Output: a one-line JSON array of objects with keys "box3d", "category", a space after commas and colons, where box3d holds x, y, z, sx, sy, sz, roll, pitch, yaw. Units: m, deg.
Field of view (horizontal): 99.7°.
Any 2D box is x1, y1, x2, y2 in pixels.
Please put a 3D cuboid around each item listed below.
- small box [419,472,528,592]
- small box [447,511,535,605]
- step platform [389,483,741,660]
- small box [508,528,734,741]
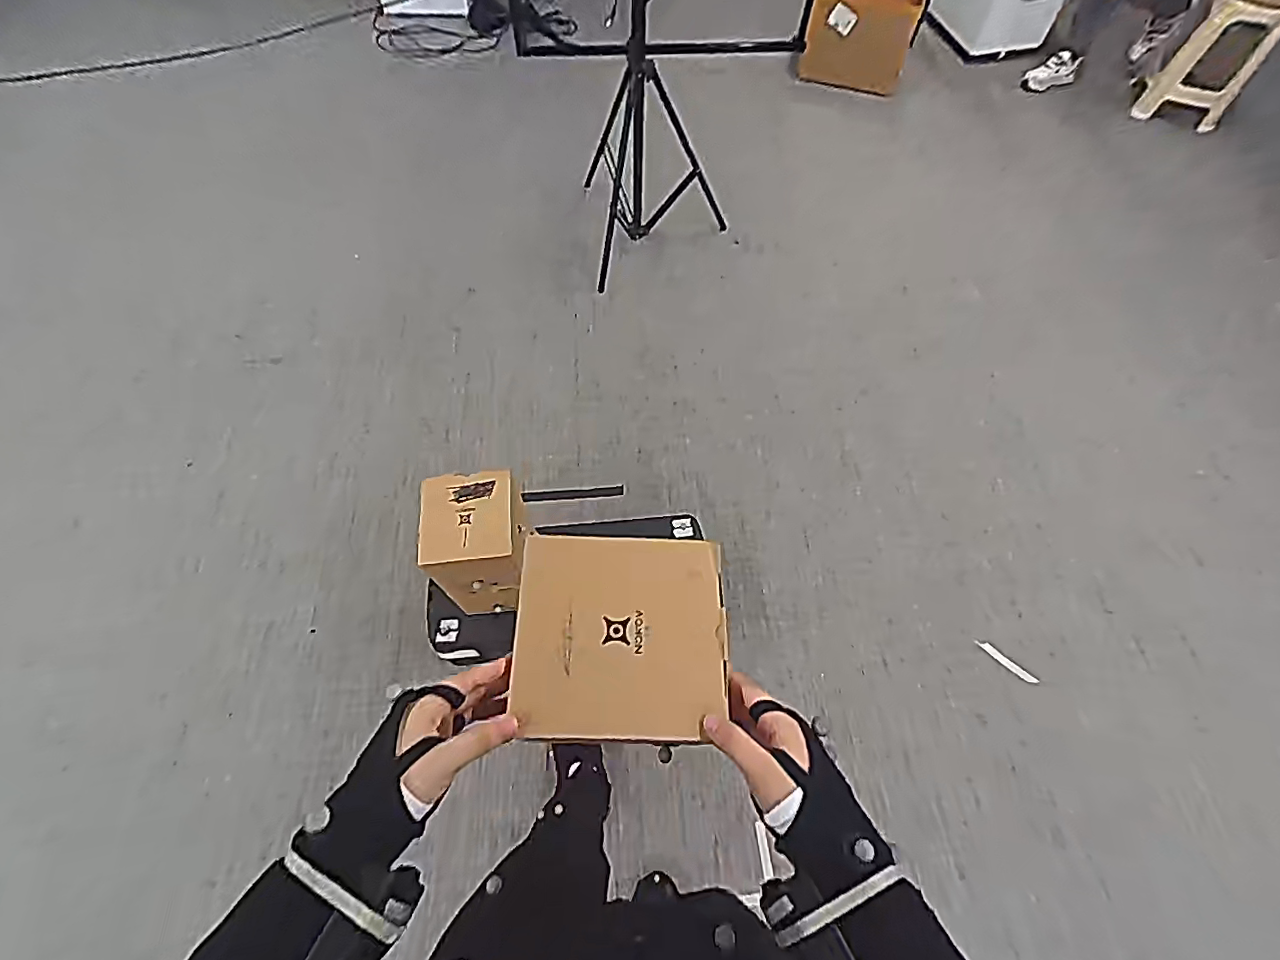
[{"box3d": [-0.314, 0.105, 1.052, 0.168, 0.176, 0.179, -6, 63, -4], "category": "small box"}, {"box3d": [-0.315, 0.185, 1.195, 0.168, 0.176, 0.179, -5, 63, -3], "category": "small box"}, {"box3d": [-0.146, 0.199, 1.152, 0.684, 0.204, 0.286, -5, 62, -4], "category": "step platform"}, {"box3d": [-0.018, 0.155, 0.520, 0.179, 0.176, 0.168, 1, 62, -3], "category": "small box"}]
